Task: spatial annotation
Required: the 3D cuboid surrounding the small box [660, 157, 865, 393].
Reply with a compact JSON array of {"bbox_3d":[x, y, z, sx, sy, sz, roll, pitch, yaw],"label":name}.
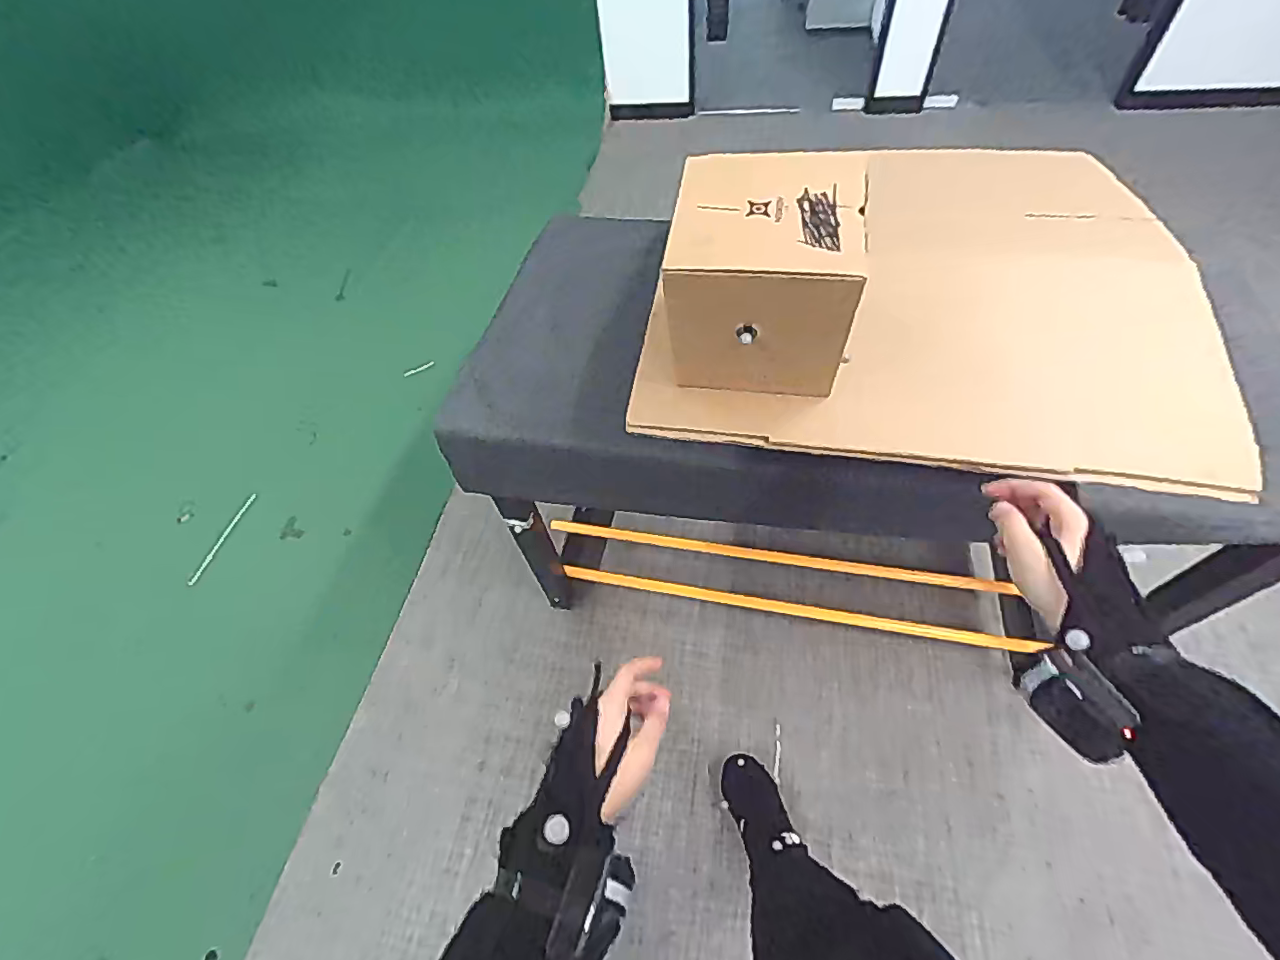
[{"bbox_3d":[0.127,-0.209,0.573,0.179,0.176,0.168,6,63,12],"label":"small box"}]
